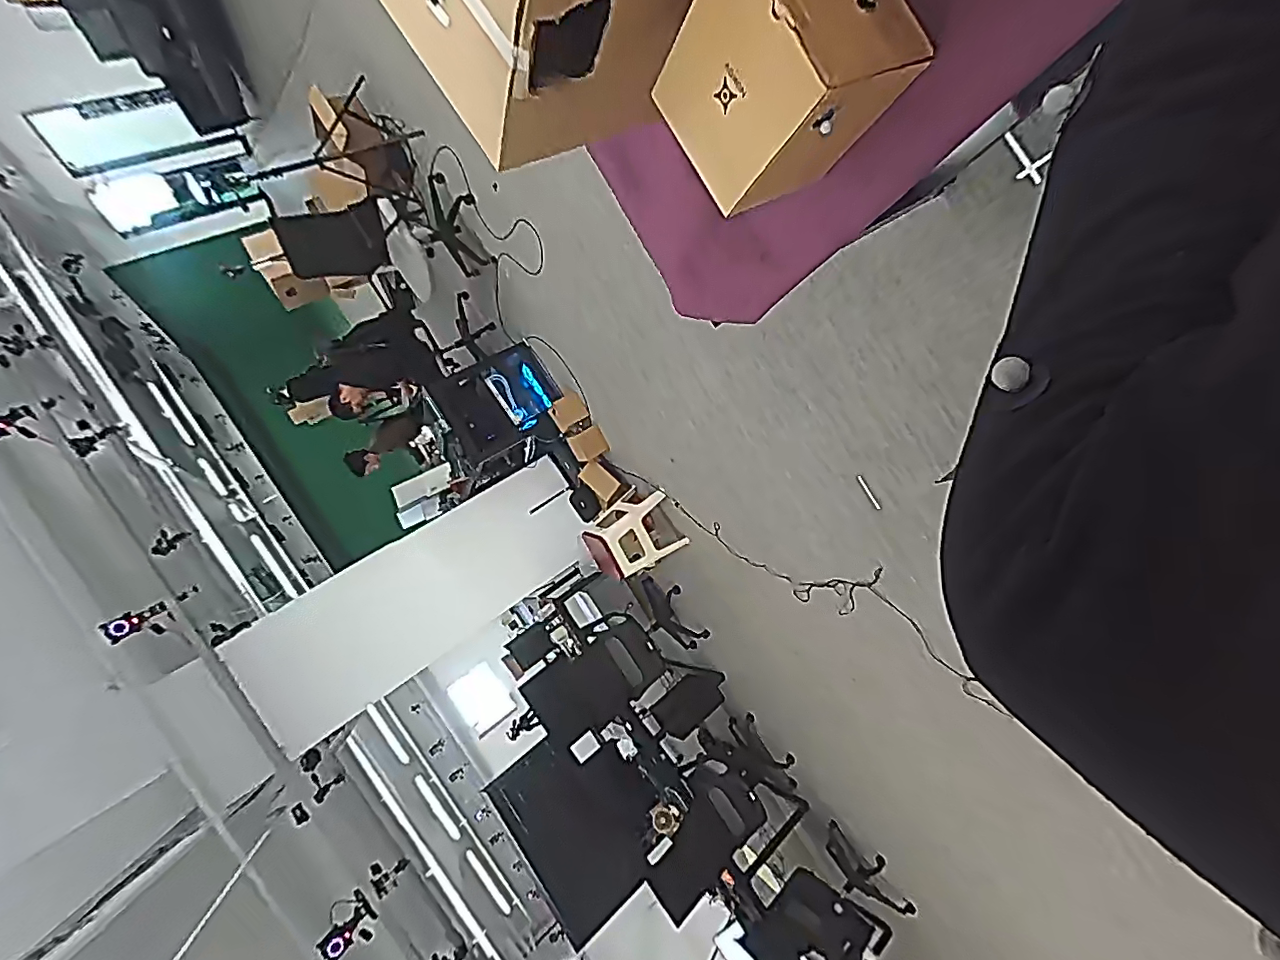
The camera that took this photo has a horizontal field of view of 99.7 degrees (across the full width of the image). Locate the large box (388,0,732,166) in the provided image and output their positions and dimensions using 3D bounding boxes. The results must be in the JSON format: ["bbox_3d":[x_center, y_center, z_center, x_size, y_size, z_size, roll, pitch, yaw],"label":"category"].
[{"bbox_3d":[-0.114,-0.661,0.592,0.408,0.320,0.320,54,156,-1],"label":"large box"}]
